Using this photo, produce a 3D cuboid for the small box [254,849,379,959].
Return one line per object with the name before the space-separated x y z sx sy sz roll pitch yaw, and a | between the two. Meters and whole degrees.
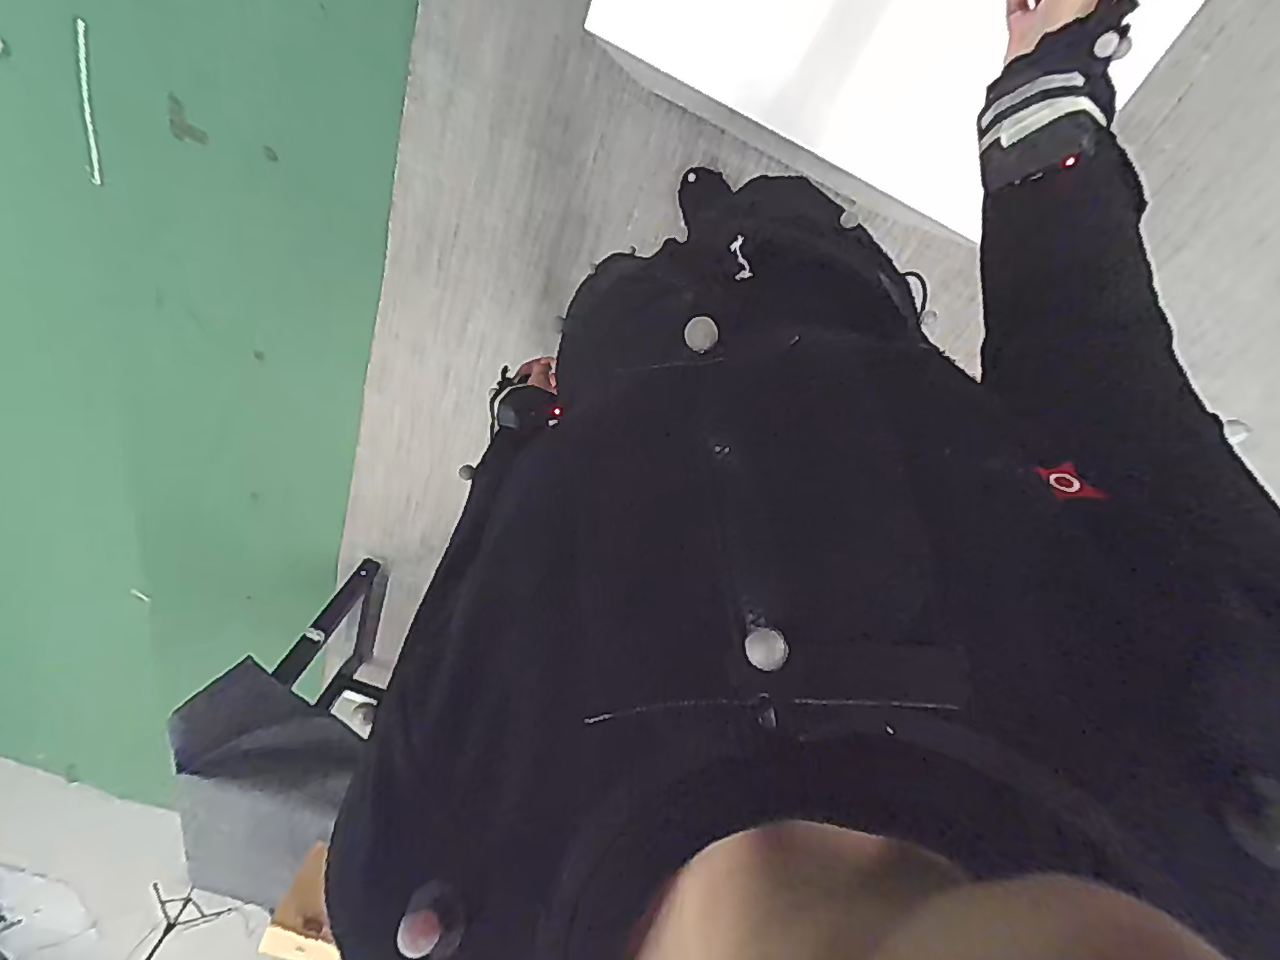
small box | -0.713 0.968 1.204 0.168 0.176 0.179 27 120 -9
